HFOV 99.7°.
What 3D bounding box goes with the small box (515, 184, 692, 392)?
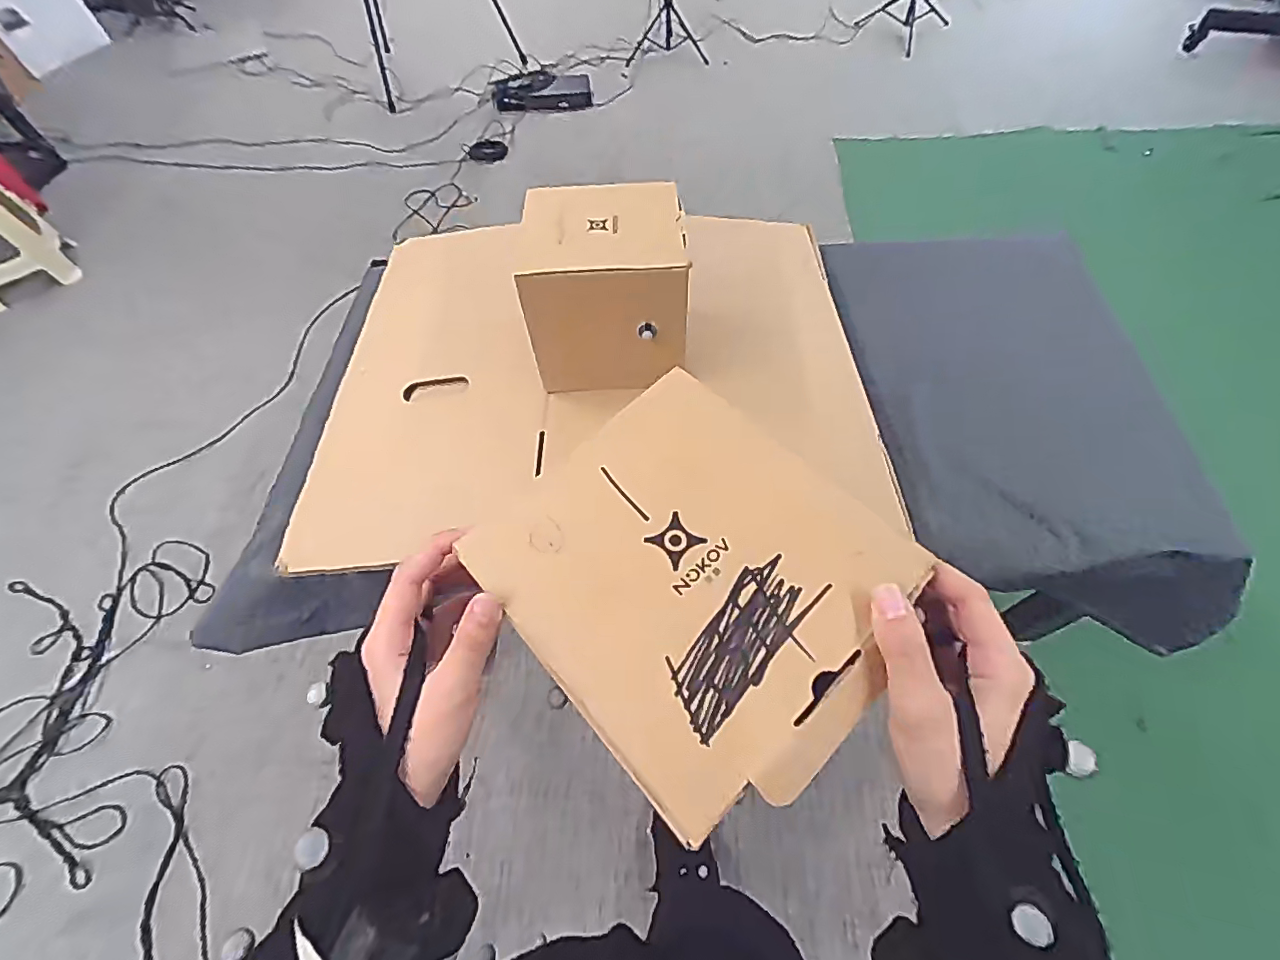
[{"bbox_3d":[-0.036,-0.220,0.639,0.179,0.176,0.168,-3,55,1],"label":"small box"}]
